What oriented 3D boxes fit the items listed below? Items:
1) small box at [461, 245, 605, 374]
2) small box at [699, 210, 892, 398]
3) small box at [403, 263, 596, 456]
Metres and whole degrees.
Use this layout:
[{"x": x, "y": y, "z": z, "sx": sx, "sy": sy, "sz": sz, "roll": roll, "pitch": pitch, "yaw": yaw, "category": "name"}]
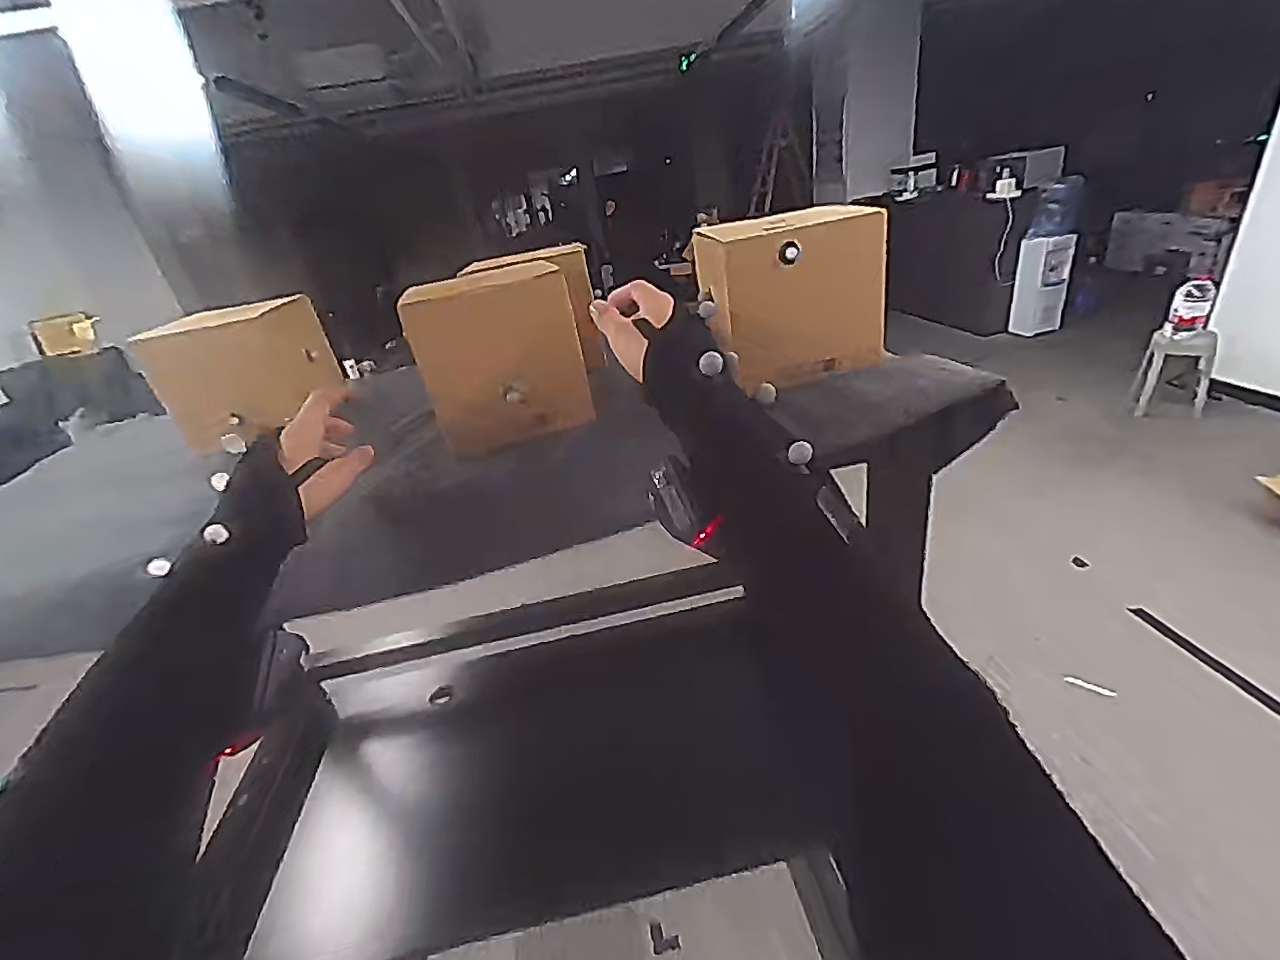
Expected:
[{"x": -0.151, "y": -0.252, "z": 0.829, "sx": 0.179, "sy": 0.176, "sz": 0.168, "roll": -11, "pitch": 27, "yaw": -2, "category": "small box"}, {"x": 0.171, "y": -0.208, "z": 0.634, "sx": 0.168, "sy": 0.176, "sz": 0.179, "roll": -11, "pitch": 27, "yaw": 0, "category": "small box"}, {"x": -0.160, "y": -0.147, "z": 0.636, "sx": 0.168, "sy": 0.176, "sz": 0.179, "roll": -17, "pitch": 29, "yaw": -11, "category": "small box"}]
